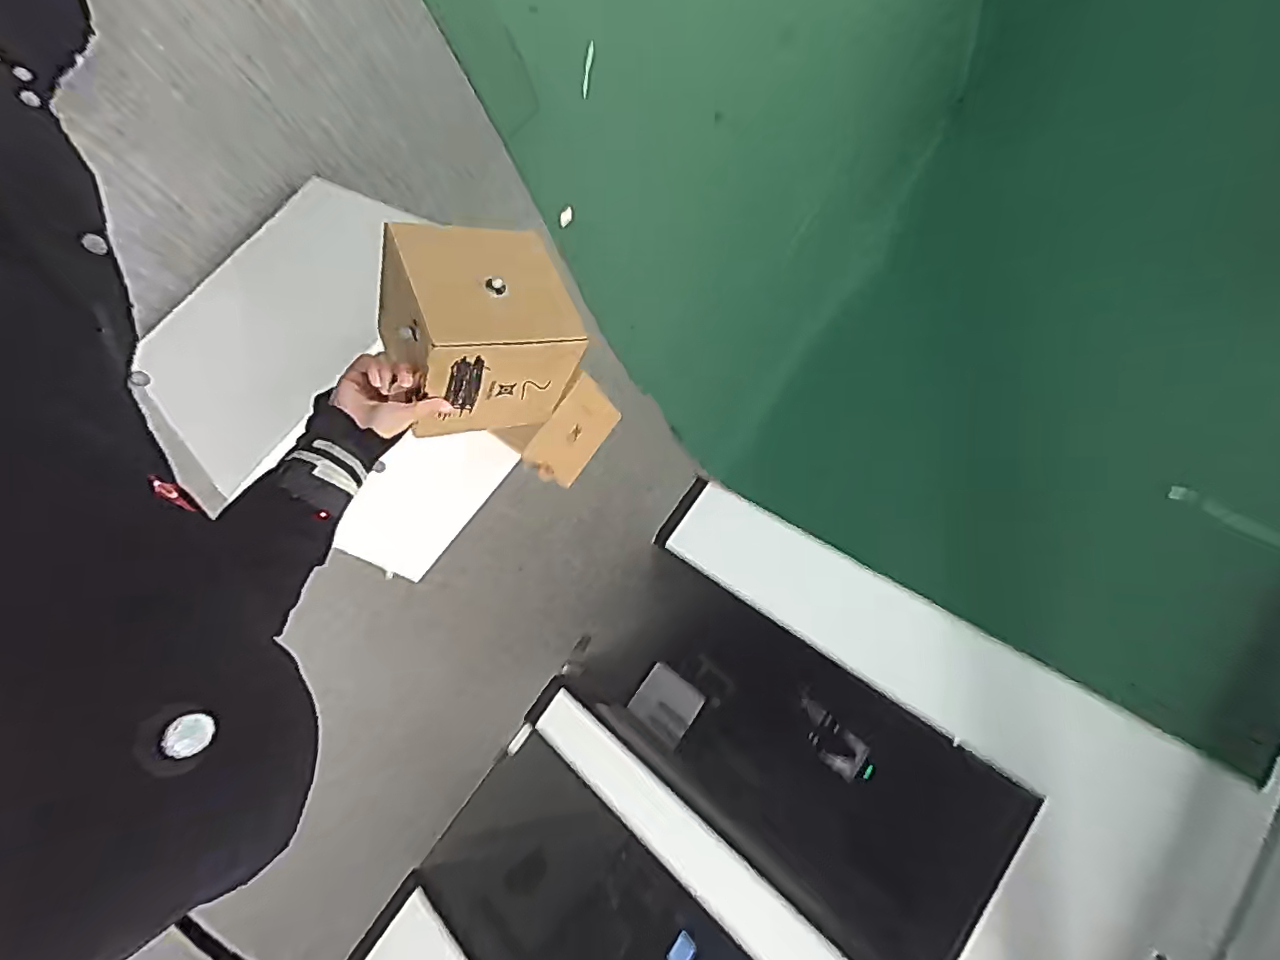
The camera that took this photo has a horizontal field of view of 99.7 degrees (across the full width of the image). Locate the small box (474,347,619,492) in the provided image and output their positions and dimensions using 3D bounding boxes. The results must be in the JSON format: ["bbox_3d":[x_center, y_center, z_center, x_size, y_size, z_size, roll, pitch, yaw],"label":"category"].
[{"bbox_3d":[-0.175,-0.111,0.995,0.179,0.176,0.168,-55,150,-7],"label":"small box"}]
